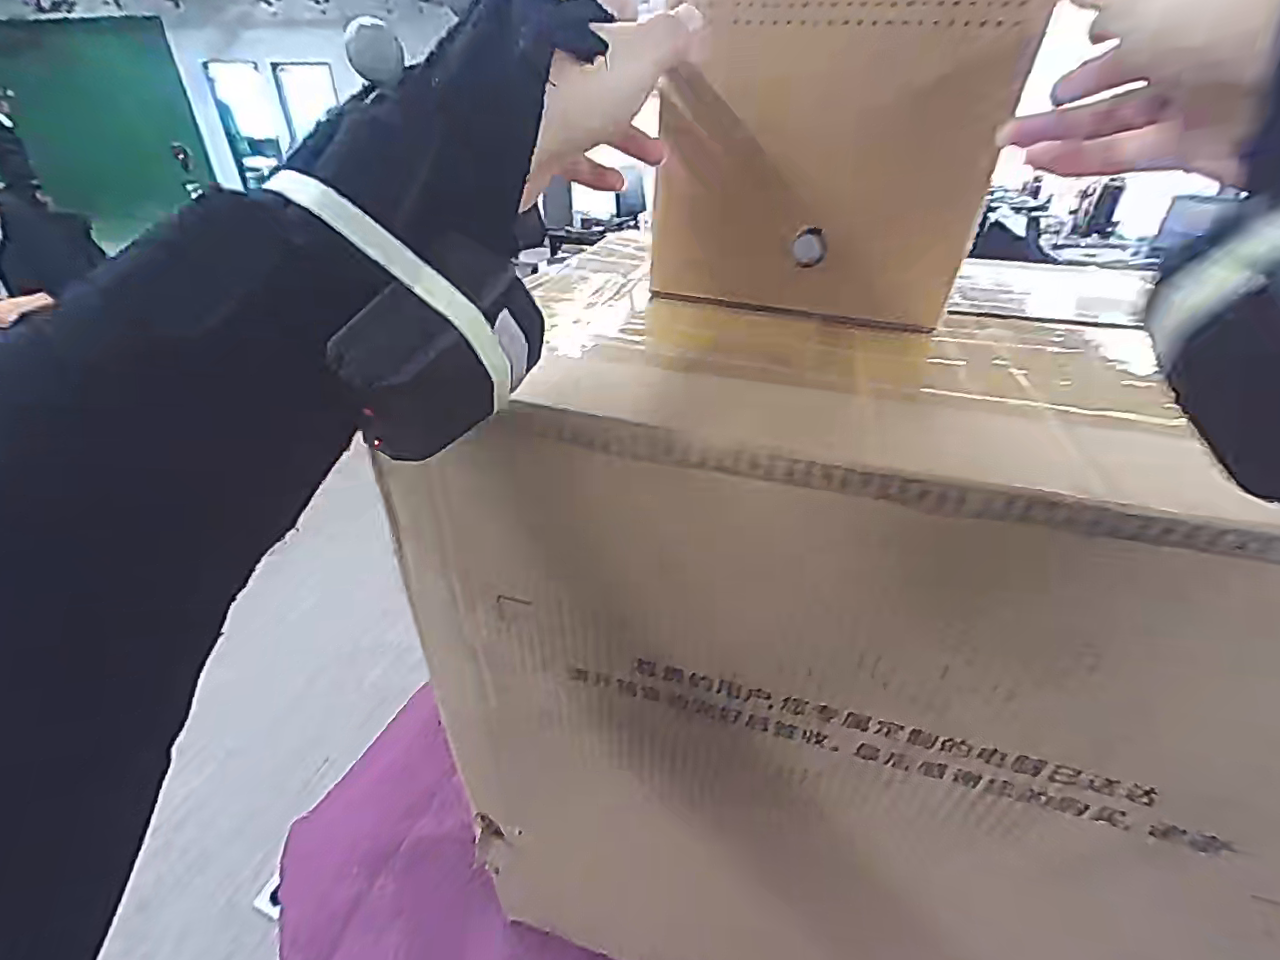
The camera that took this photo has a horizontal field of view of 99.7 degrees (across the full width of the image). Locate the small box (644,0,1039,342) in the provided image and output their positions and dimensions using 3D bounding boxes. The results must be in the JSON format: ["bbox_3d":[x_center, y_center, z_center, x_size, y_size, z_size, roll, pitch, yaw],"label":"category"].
[{"bbox_3d":[0.113,-0.206,0.350,0.179,0.176,0.168,12,35,15],"label":"small box"}]
